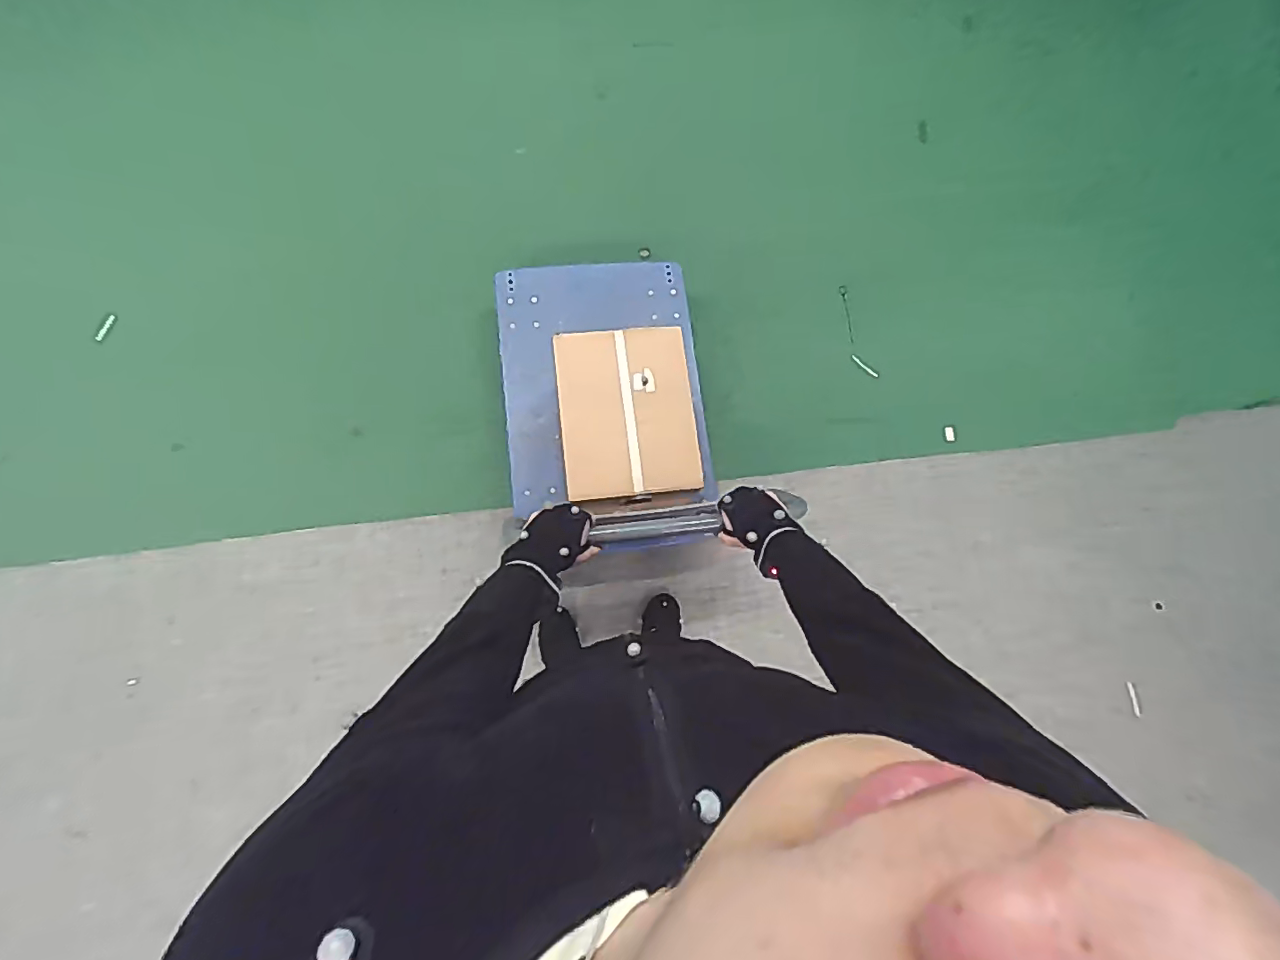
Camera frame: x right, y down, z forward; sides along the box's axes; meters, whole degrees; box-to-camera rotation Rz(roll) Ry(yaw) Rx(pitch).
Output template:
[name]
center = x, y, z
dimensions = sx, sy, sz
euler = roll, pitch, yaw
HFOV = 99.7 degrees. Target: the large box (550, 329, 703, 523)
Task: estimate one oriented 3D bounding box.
[large box]
center = -0.048, -0.124, 1.393
dimensions = 0.320, 0.320, 0.408
euler = -6, 78, -9
